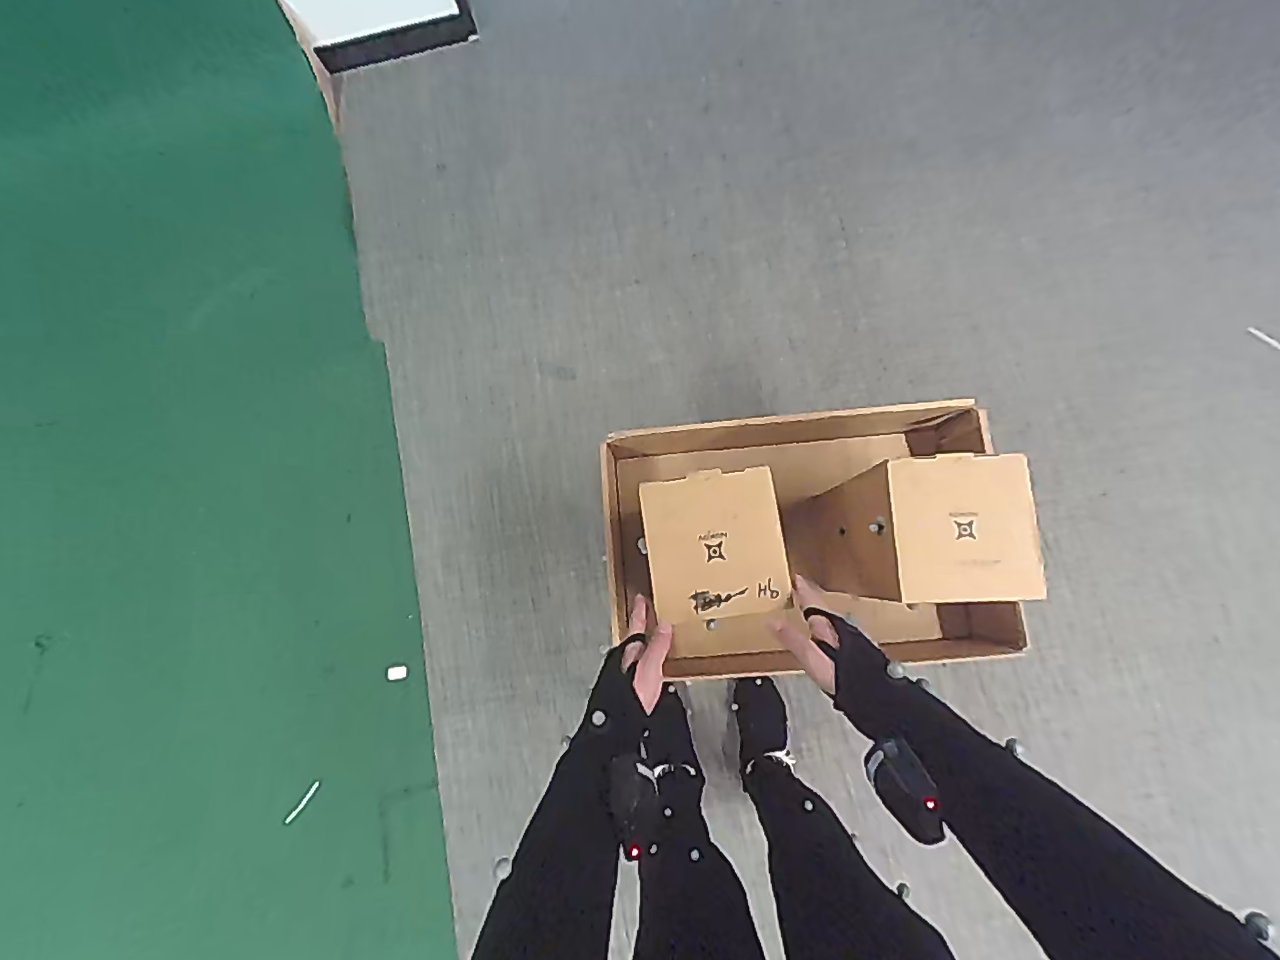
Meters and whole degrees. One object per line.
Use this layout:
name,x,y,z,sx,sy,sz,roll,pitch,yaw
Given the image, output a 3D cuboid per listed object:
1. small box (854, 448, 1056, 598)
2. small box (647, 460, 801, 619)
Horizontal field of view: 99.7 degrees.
small box,0.393,0.064,0.709,0.168,0.176,0.179,-2,80,4
small box,0.101,0.084,0.722,0.168,0.176,0.179,-8,80,2
